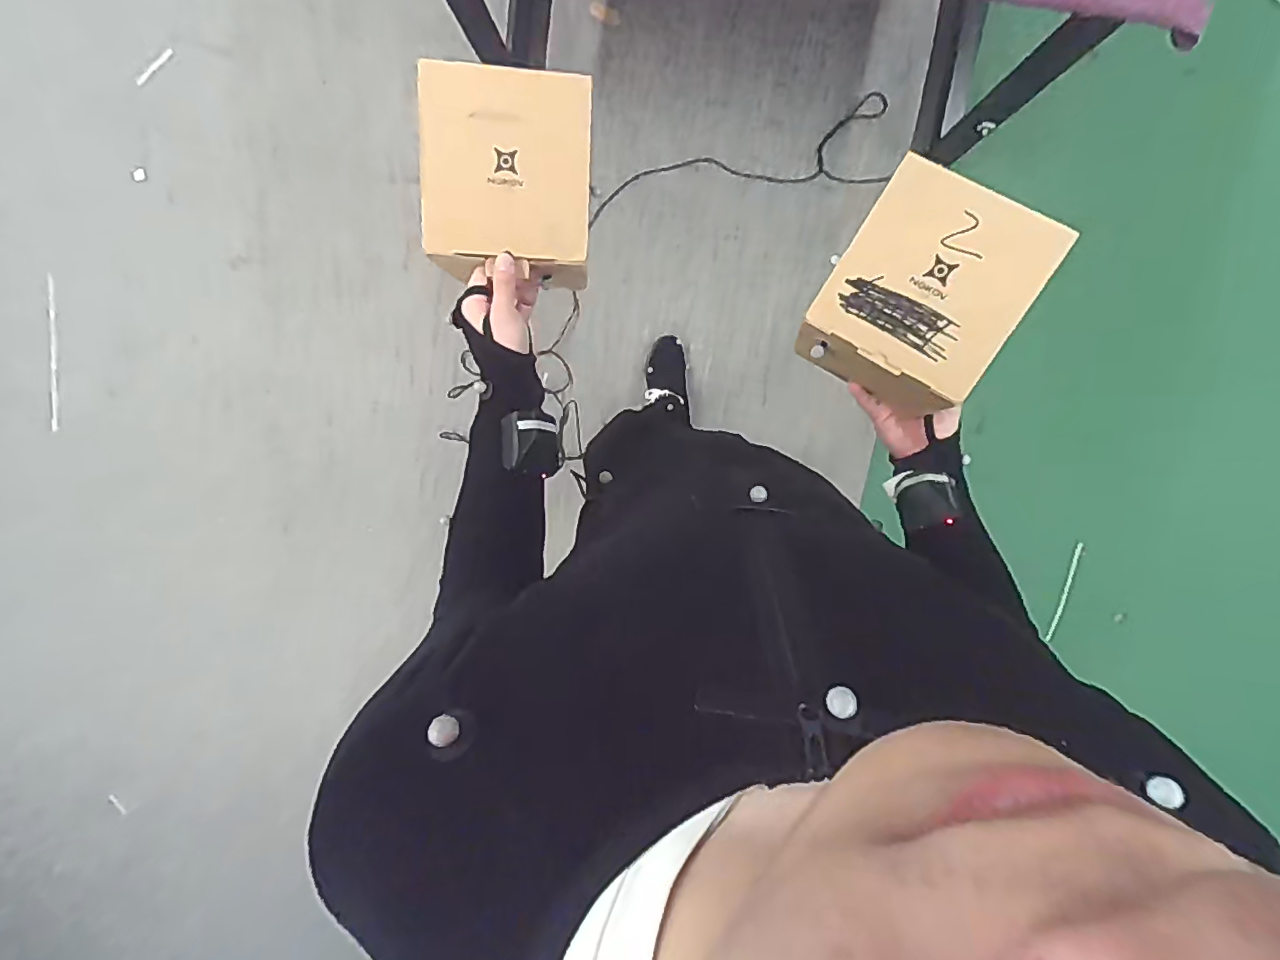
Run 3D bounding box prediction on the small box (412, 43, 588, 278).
[{"bbox_3d":[-0.144,-0.332,0.602,0.168,0.176,0.179,2,100,-7],"label":"small box"}]
